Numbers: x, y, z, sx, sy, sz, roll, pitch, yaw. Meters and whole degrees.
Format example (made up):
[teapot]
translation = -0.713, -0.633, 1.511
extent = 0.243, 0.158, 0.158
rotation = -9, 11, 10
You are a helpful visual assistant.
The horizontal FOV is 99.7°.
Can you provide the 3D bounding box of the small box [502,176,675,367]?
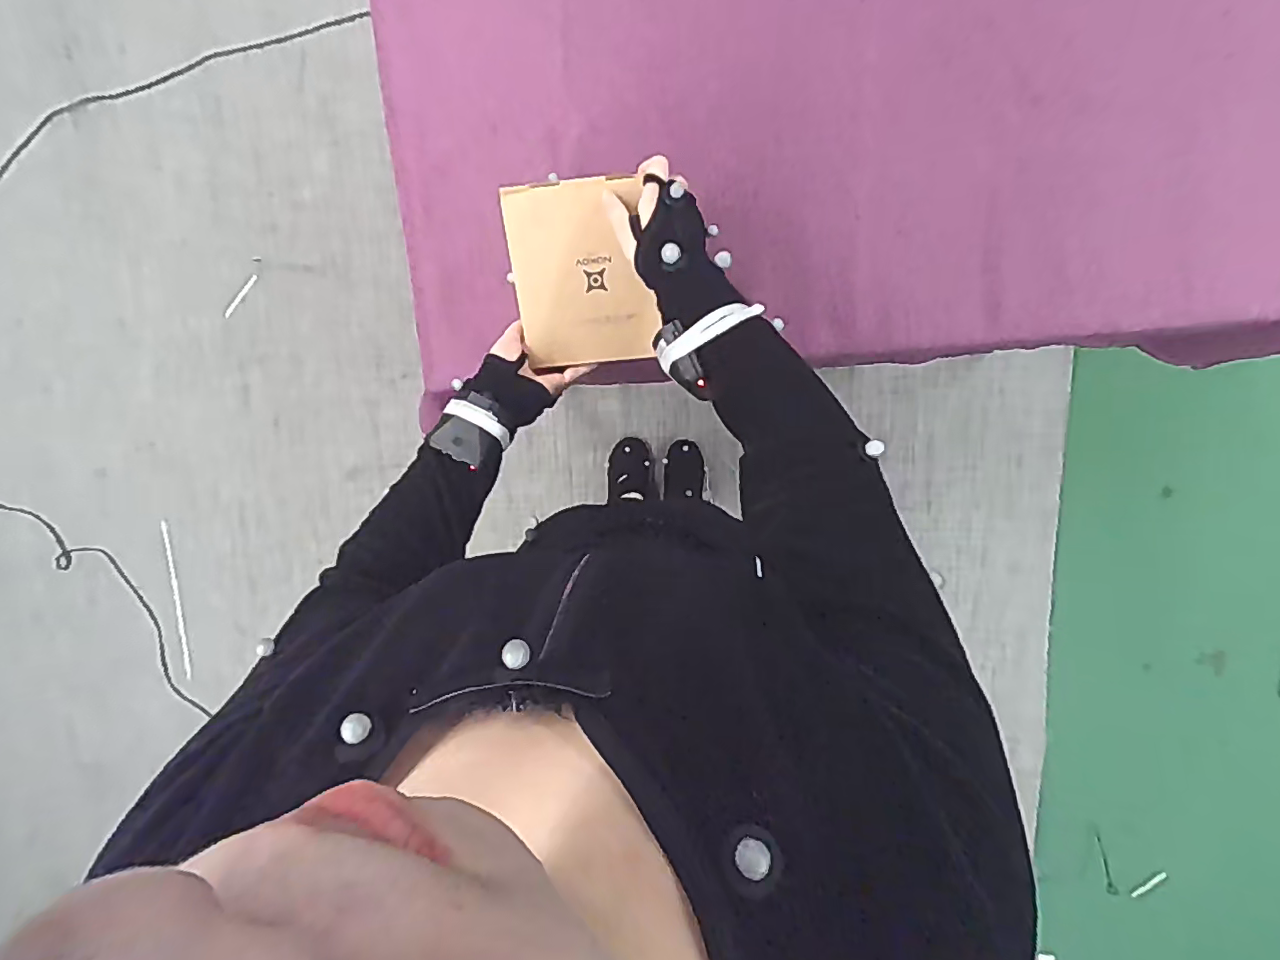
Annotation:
[small box]
translation = -0.050, -0.239, 0.626
extent = 0.168, 0.176, 0.179
rotation = -4, 114, 1
